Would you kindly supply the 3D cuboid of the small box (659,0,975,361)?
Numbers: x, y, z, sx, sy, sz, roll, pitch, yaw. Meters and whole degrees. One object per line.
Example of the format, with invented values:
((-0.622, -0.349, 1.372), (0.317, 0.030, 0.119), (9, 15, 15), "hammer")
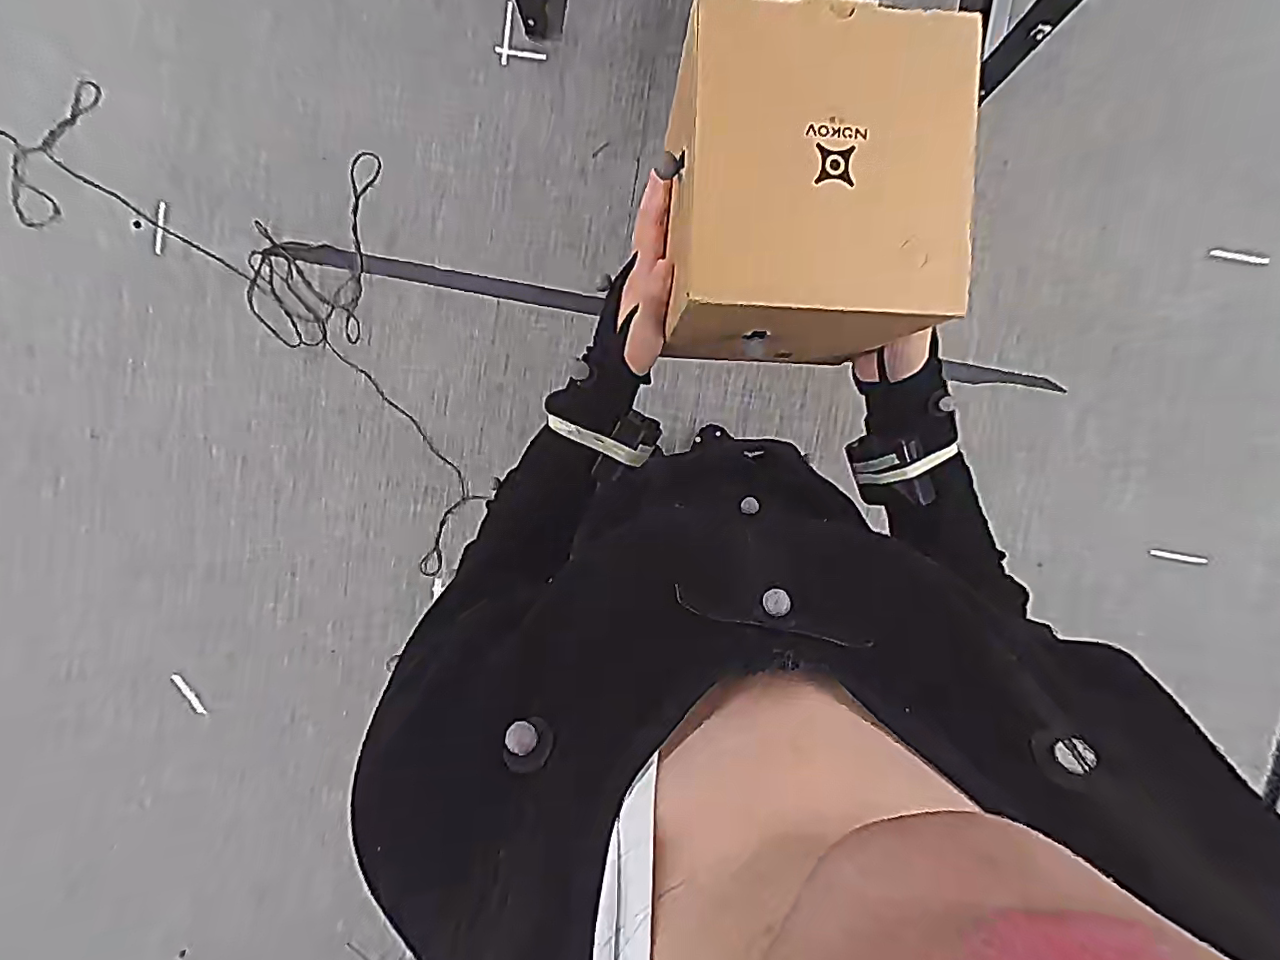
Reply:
((0.106, -0.188, 0.392), (0.168, 0.176, 0.179), (1, 91, -5), "small box")
